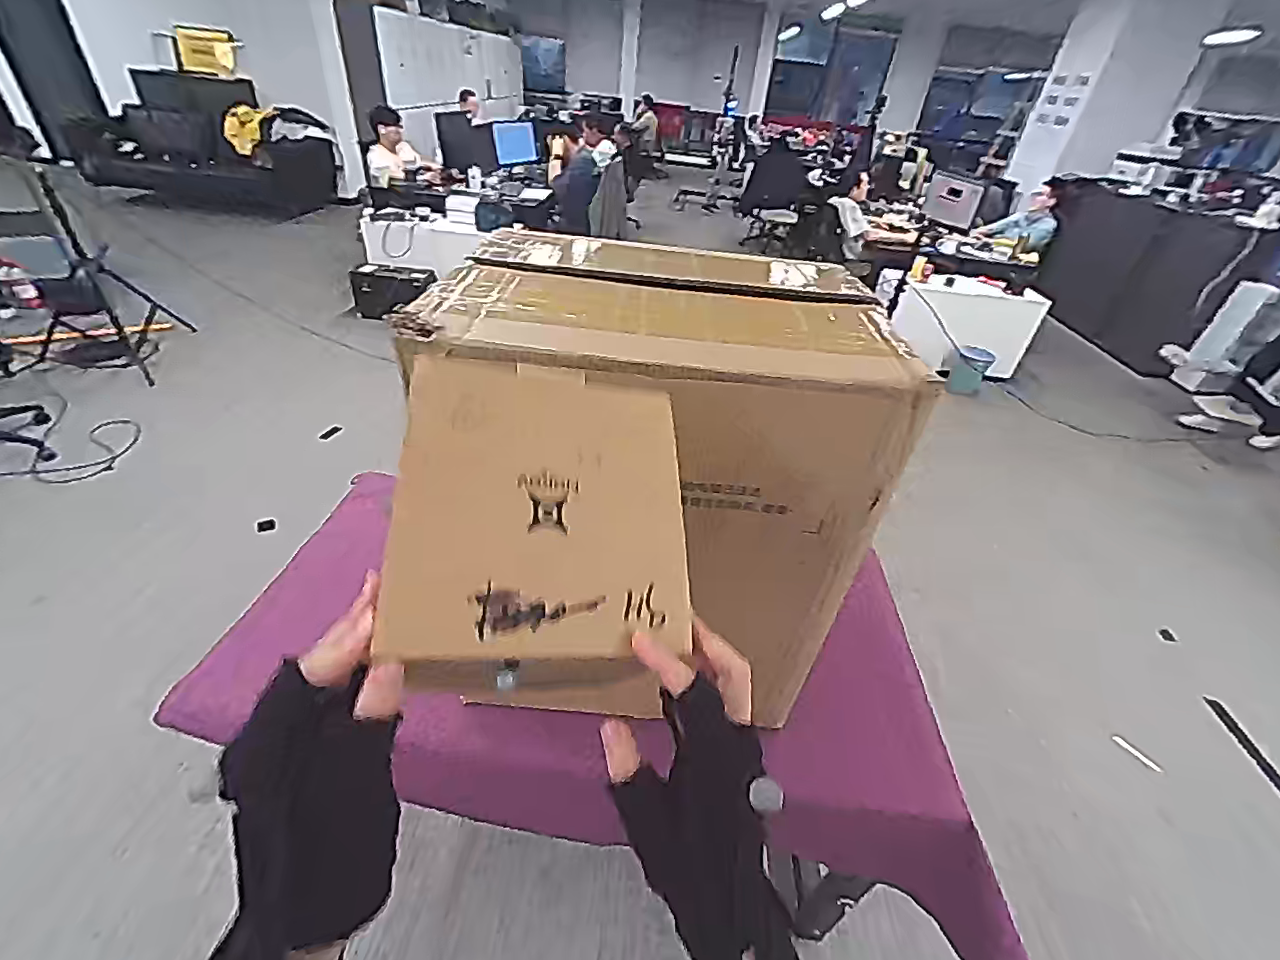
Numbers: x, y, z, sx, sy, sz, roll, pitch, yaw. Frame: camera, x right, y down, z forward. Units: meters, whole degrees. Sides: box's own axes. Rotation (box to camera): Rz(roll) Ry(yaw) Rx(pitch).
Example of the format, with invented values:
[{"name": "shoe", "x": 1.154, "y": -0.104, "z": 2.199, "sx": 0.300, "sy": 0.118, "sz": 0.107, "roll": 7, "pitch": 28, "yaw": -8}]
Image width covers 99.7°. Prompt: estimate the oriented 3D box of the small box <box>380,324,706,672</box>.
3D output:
[{"name": "small box", "x": -0.071, "y": 0.028, "z": 0.371, "sx": 0.168, "sy": 0.176, "sz": 0.179, "roll": 6, "pitch": 63, "yaw": -18}]
